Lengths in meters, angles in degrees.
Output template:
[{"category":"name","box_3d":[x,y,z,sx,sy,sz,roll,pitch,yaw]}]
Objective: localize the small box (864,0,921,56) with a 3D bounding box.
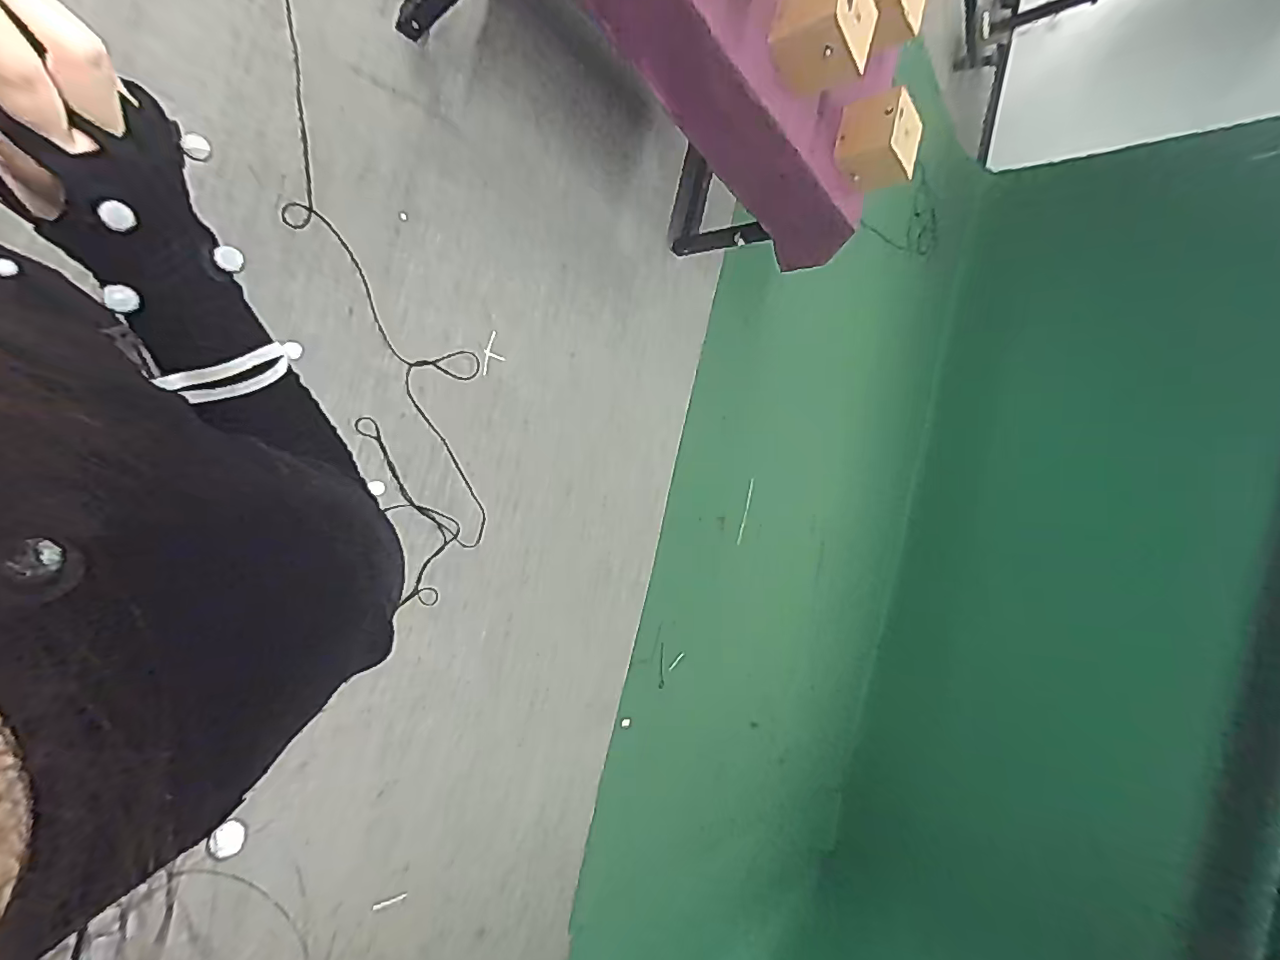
[{"category":"small box","box_3d":[0.640,-1.296,1.450,0.168,0.176,0.179,12,90,-47]}]

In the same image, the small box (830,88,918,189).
[{"category":"small box","box_3d":[0.675,-0.969,1.557,0.179,0.176,0.168,14,88,-47]}]

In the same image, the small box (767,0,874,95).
[{"category":"small box","box_3d":[0.423,-1.061,1.273,0.179,0.176,0.168,20,84,-48]}]
